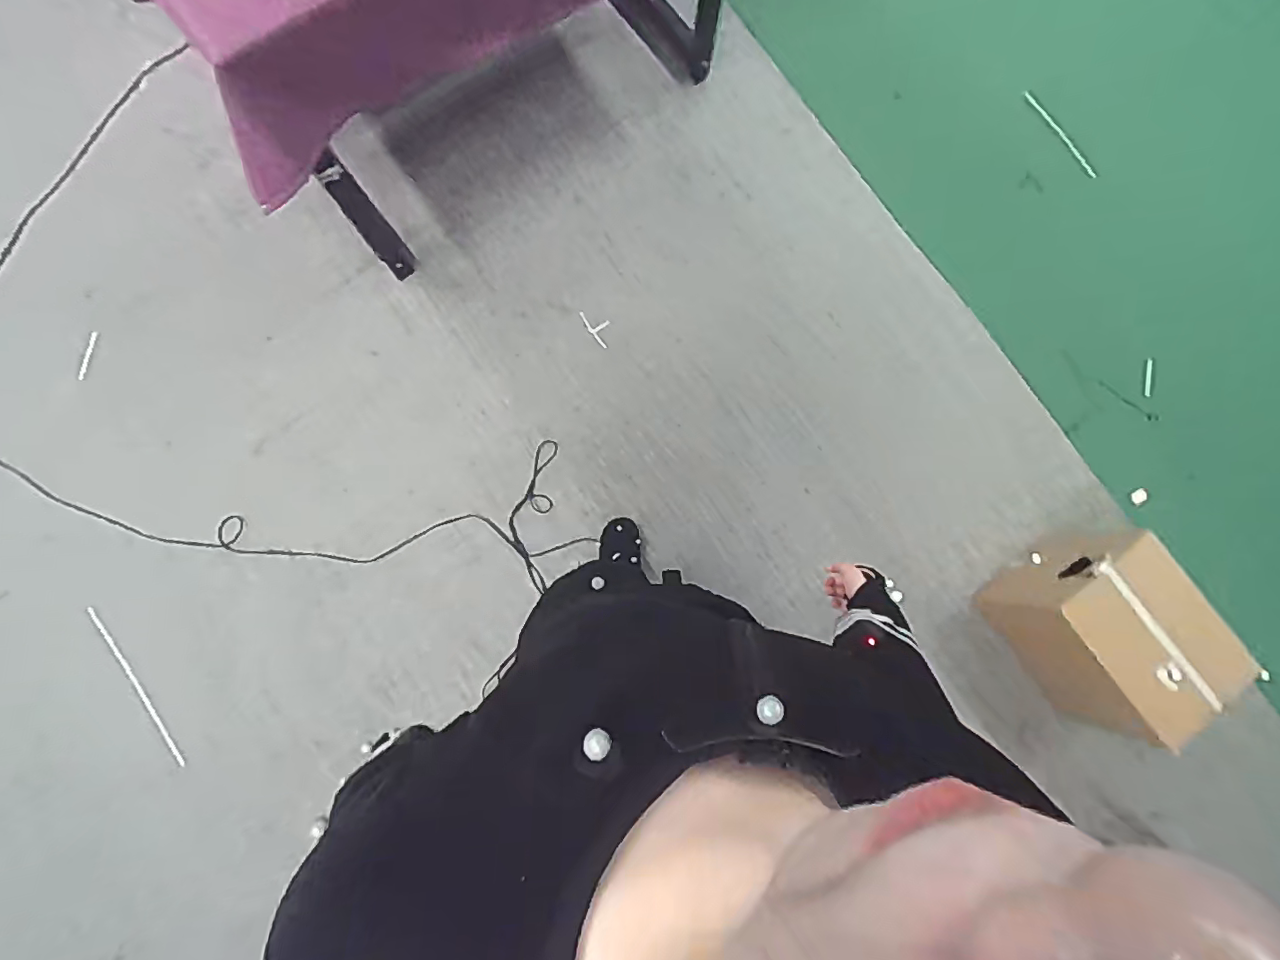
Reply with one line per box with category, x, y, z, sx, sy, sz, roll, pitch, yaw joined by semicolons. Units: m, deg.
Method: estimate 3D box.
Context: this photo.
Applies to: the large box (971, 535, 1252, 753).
large box;1.179;0.392;1.397;0.320;0.320;0.408;-35;87;-8
